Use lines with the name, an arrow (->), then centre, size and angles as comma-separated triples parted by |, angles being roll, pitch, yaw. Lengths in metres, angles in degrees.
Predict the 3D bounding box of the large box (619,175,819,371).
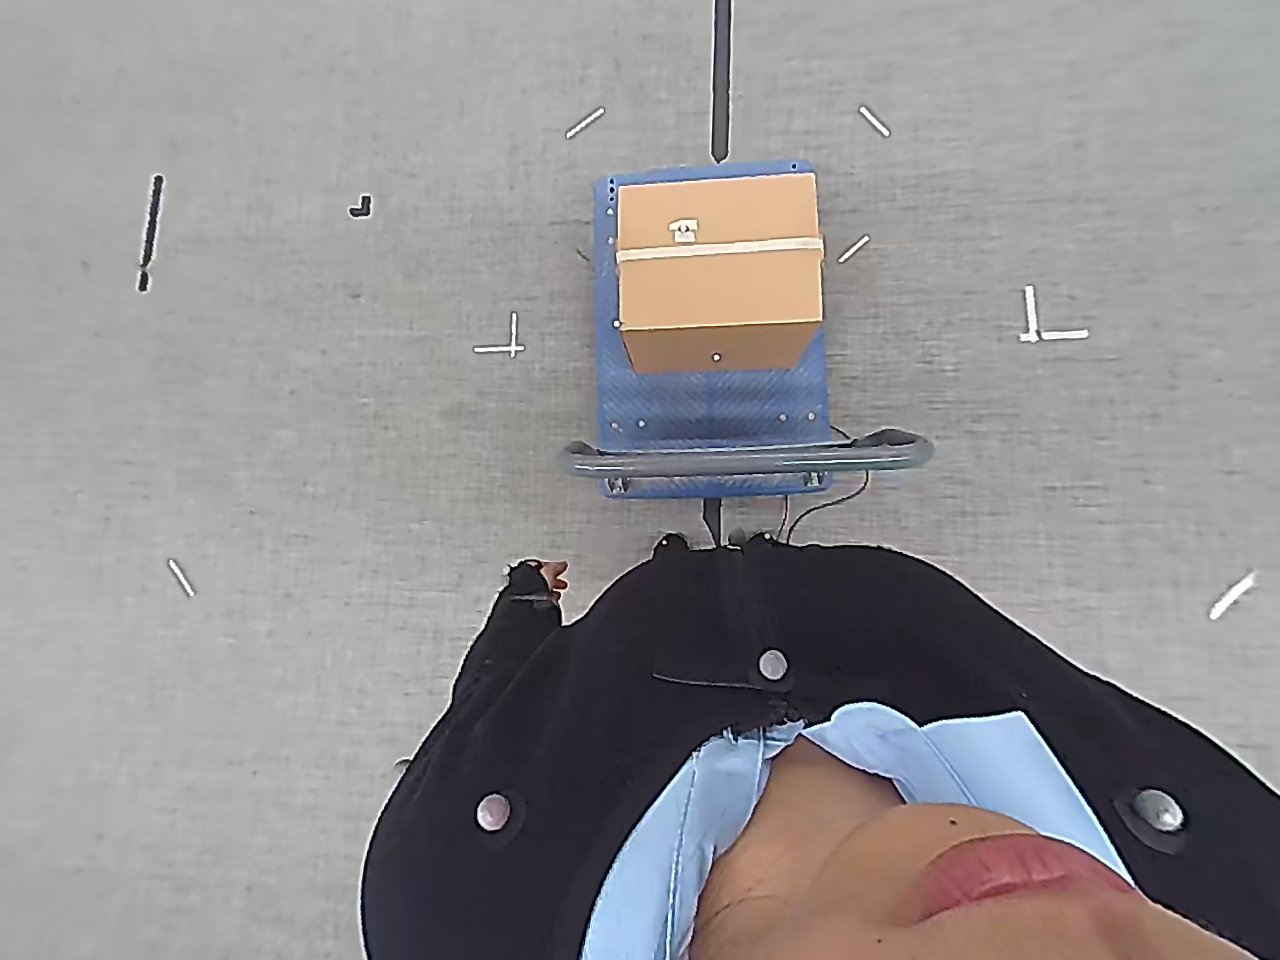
large box -> 0.175, -0.453, 1.260 | 0.408, 0.320, 0.320 | -2, 83, 6
